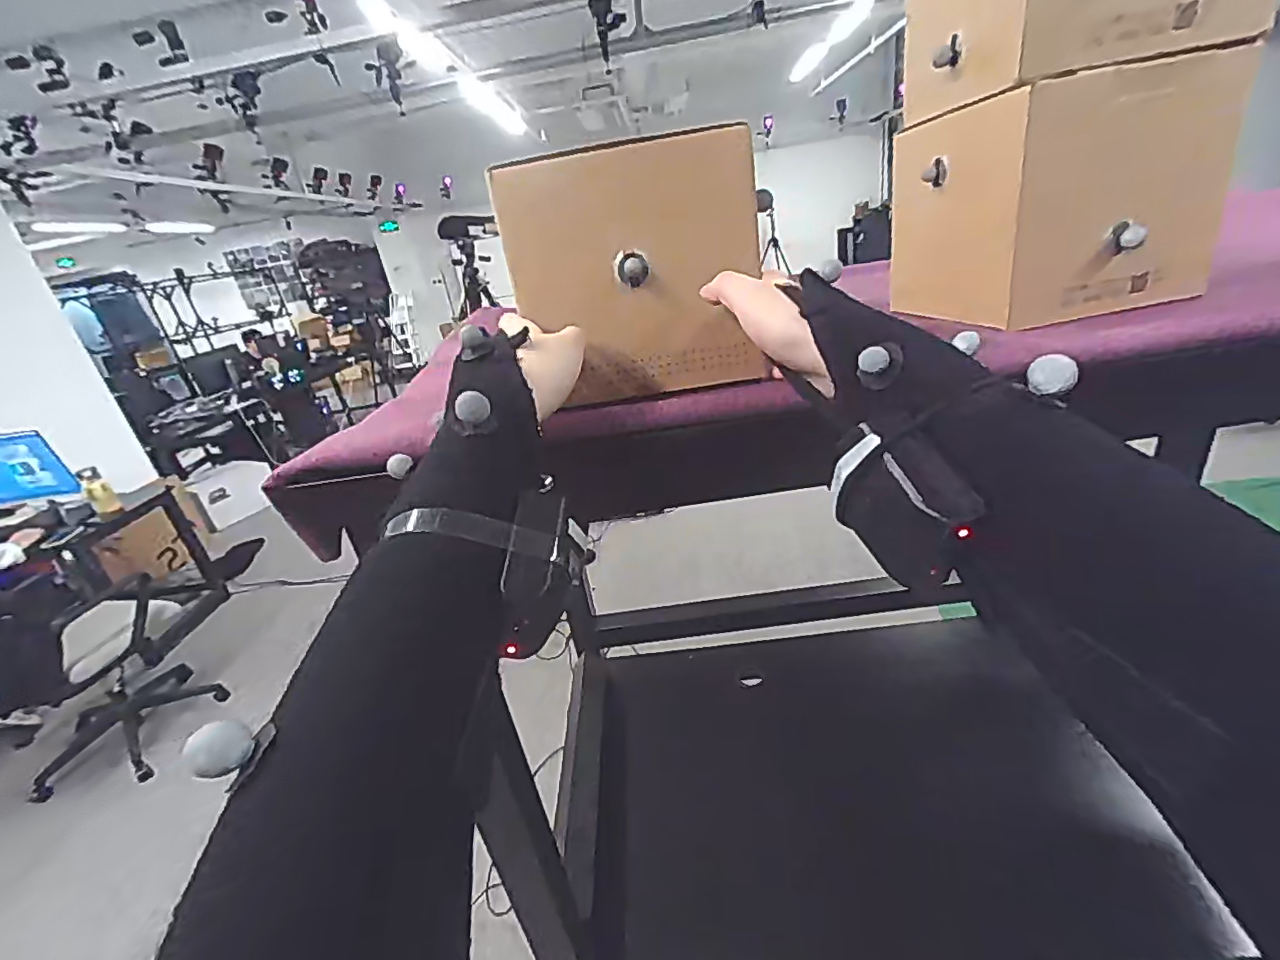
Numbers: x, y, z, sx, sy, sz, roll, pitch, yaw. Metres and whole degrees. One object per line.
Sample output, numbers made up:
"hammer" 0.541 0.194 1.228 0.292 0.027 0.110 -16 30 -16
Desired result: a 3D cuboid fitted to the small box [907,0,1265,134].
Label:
"small box" 0.324 -0.383 0.407 0.168 0.176 0.179 -9 24 2
